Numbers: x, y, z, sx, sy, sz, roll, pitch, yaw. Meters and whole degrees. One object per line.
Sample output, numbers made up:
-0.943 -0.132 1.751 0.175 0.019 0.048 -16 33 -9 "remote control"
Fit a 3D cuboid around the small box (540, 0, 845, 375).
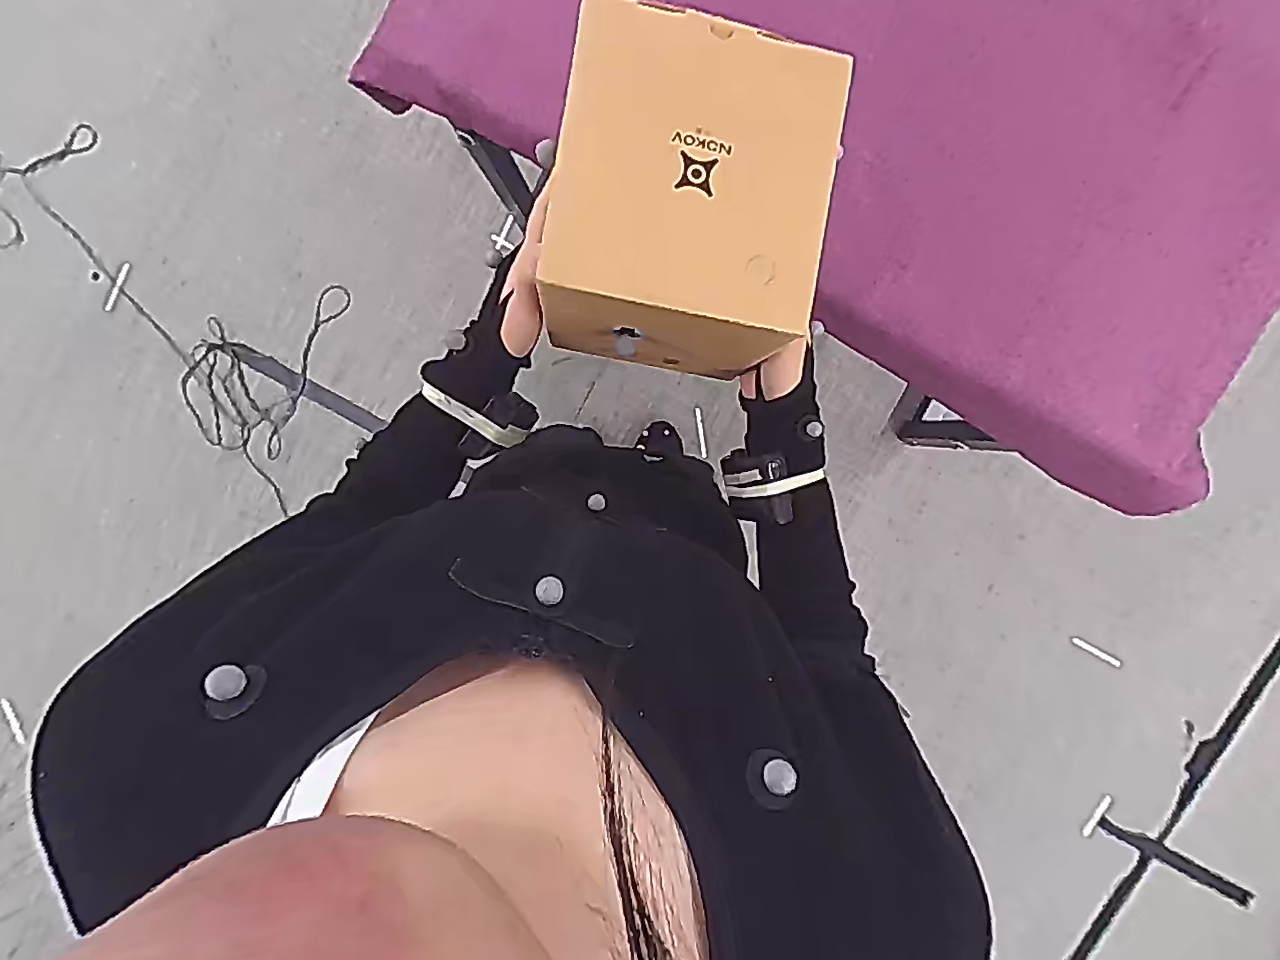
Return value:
0.027 -0.187 0.405 0.168 0.176 0.179 9 89 -6 "small box"
